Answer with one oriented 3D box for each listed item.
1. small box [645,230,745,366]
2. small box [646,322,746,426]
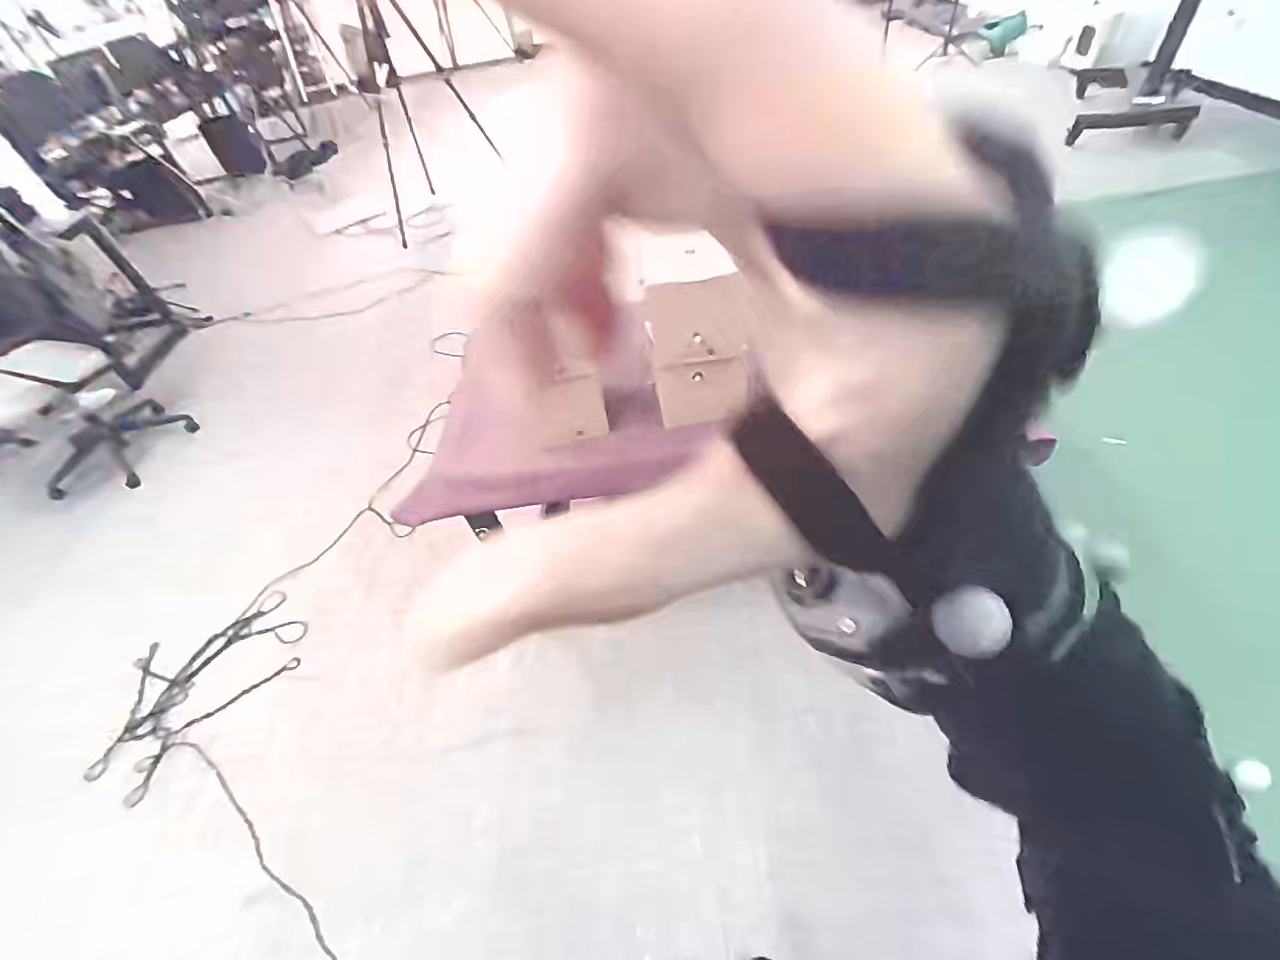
[{"bbox_3d":[0.099,-0.335,1.000,0.168,0.176,0.179,-6,48,6],"label":"small box"},{"bbox_3d":[0.117,-0.231,1.126,0.179,0.176,0.168,-11,47,0],"label":"small box"}]
